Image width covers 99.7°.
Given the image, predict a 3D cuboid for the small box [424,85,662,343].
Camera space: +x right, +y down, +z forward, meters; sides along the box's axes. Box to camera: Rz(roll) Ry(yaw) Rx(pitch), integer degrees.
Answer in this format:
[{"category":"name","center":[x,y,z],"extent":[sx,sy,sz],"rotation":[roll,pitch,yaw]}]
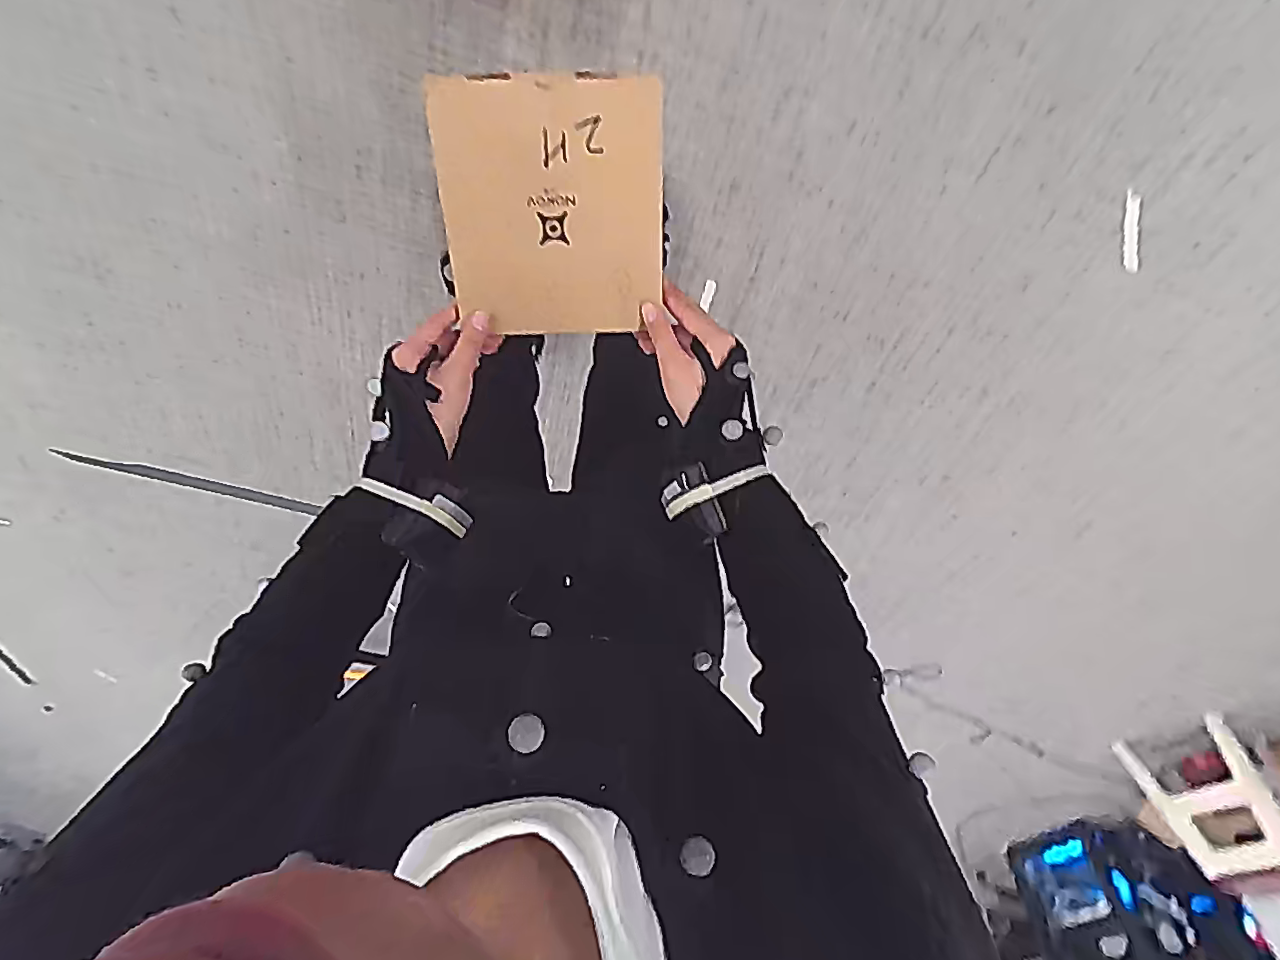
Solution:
[{"category":"small box","center":[-0.070,-0.229,0.479],"extent":[0.168,0.176,0.179],"rotation":[-2,117,-3]}]
